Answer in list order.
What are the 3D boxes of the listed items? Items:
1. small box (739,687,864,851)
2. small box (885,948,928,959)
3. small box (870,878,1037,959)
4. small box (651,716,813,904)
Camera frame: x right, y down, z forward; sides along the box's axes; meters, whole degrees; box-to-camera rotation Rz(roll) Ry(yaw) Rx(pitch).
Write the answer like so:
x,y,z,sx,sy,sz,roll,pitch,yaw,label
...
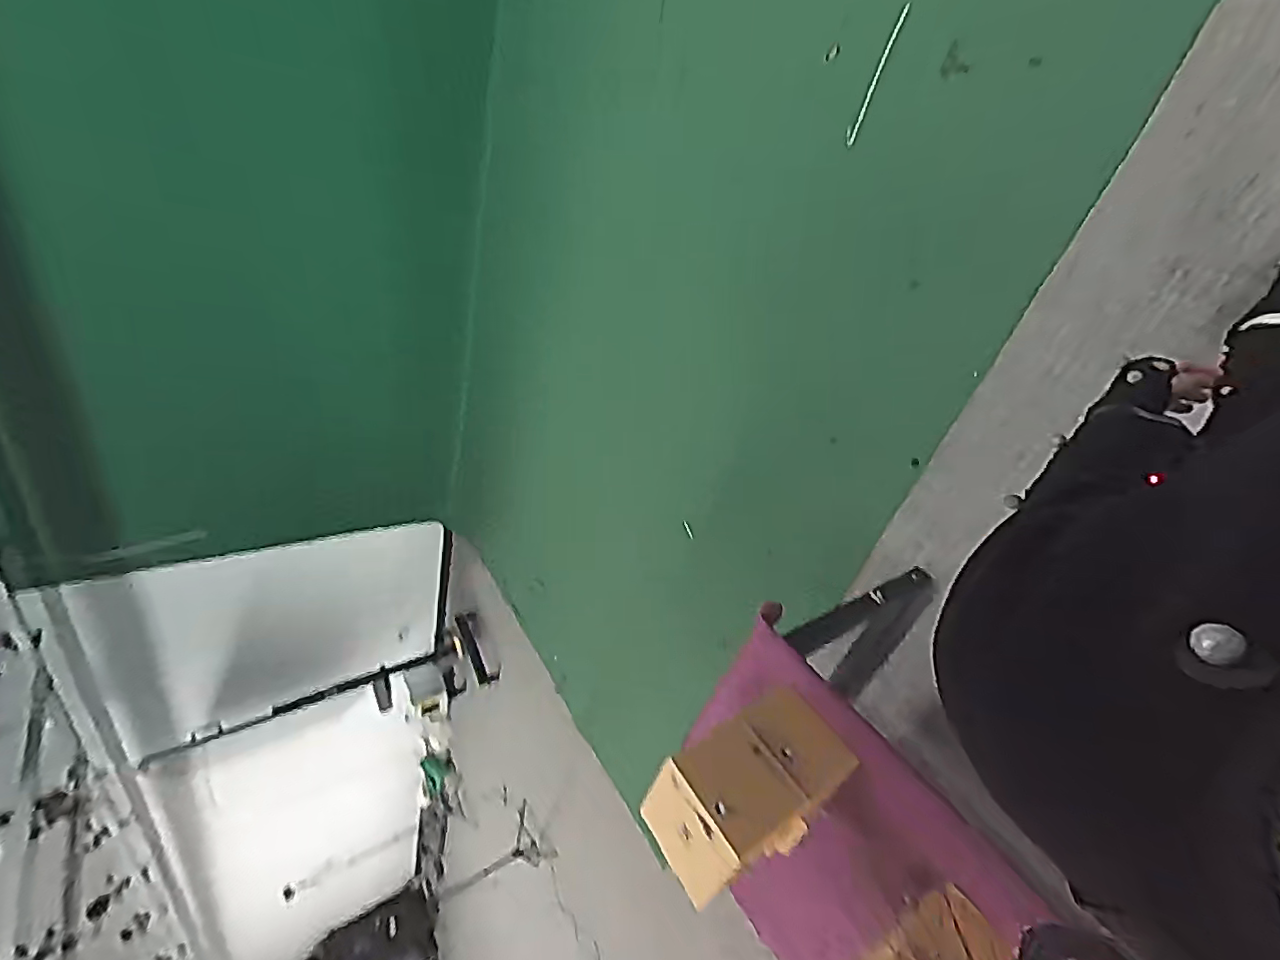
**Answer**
x,y,z,sx,sy,sz,roll,pitch,yaw,label
0.271,0.516,0.989,0.179,0.176,0.168,43,129,38,small box
0.336,0.757,0.691,0.168,0.176,0.179,48,133,35,small box
0.467,0.741,0.789,0.179,0.176,0.168,46,132,37,small box
0.148,0.525,0.879,0.168,0.176,0.179,45,131,36,small box
